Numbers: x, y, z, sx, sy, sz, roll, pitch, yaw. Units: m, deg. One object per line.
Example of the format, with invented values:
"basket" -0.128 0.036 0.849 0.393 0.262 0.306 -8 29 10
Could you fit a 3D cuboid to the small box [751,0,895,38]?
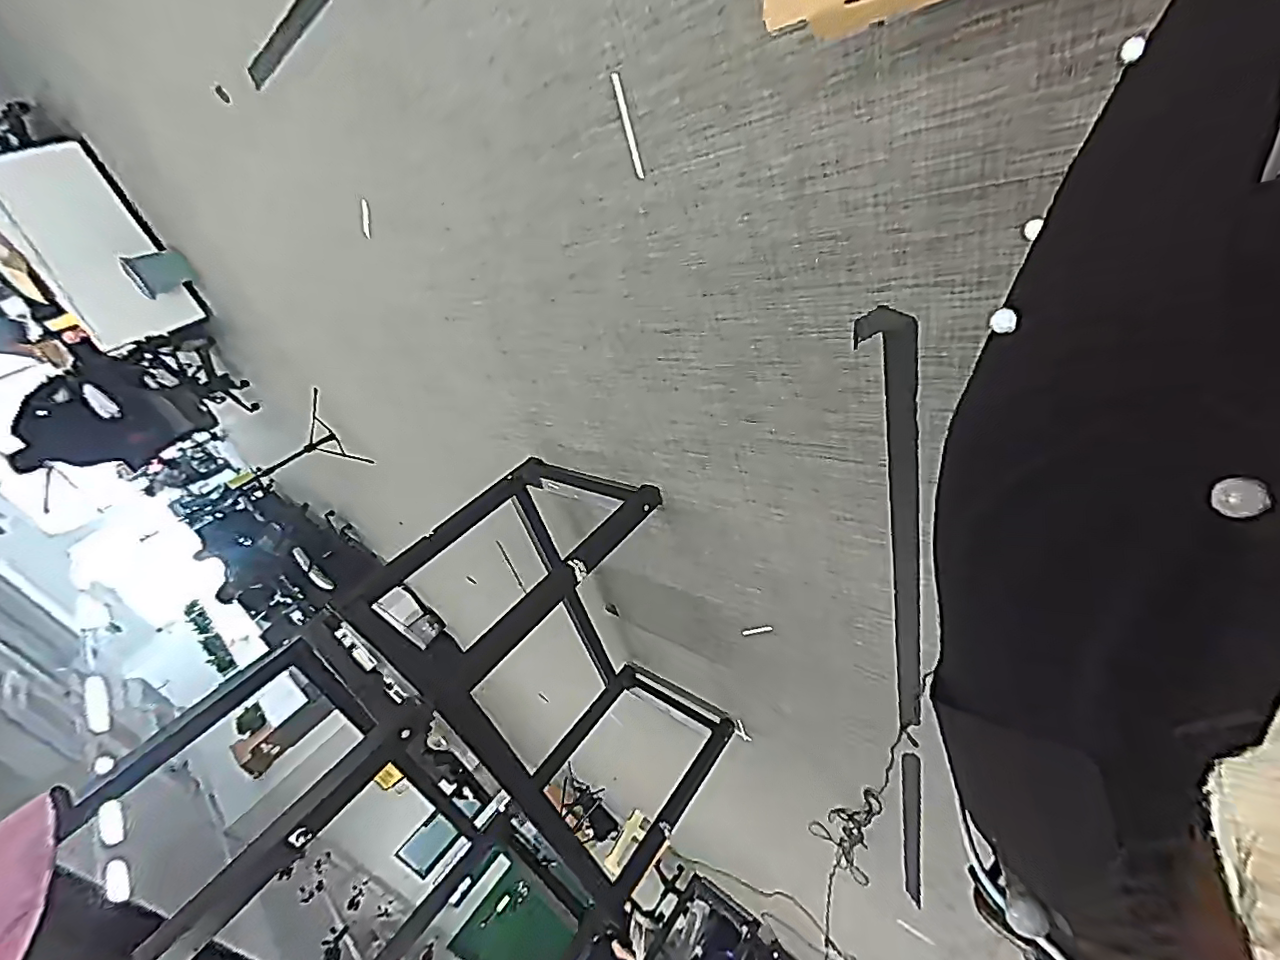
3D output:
"small box" 0.176 -0.432 0.355 0.168 0.176 0.179 14 133 39
